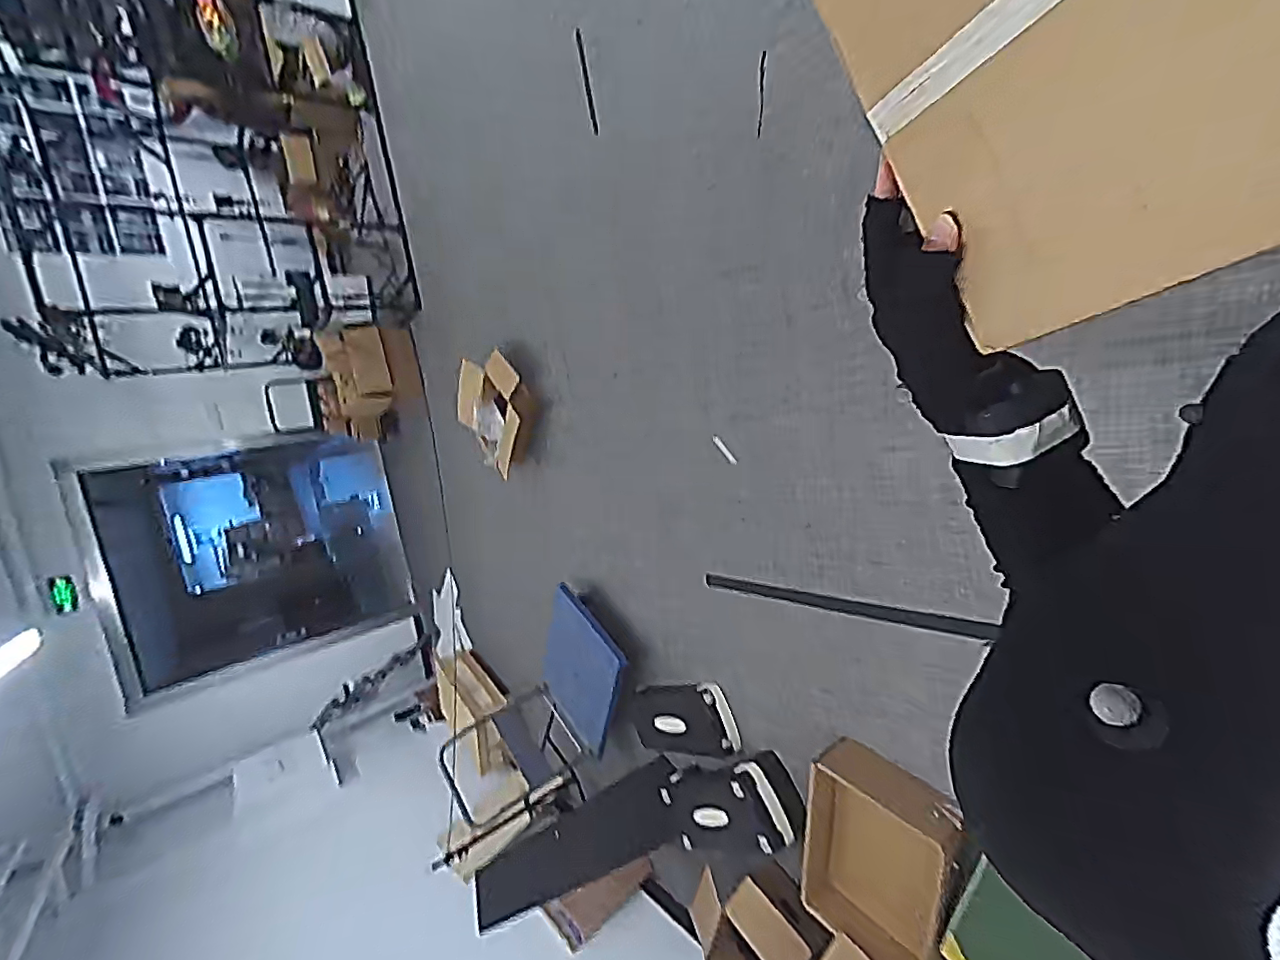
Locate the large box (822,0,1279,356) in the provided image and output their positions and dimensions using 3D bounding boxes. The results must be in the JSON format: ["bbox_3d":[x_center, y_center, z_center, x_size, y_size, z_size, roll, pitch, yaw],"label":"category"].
[{"bbox_3d":[0.366,-0.317,0.259,0.408,0.320,0.320,-21,96,56],"label":"large box"}]
